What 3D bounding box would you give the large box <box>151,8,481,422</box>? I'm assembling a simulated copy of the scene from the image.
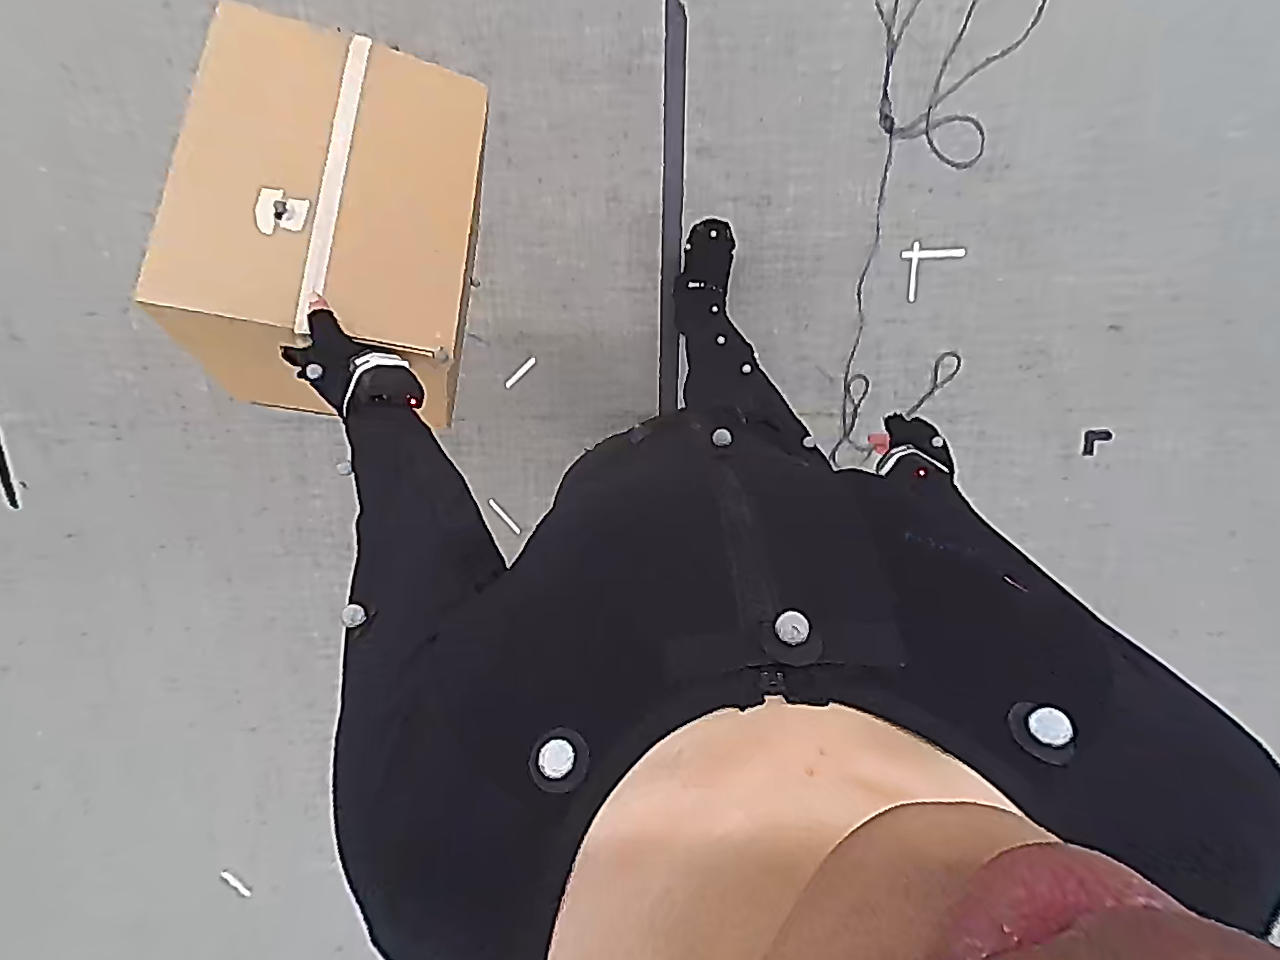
[{"bbox_3d":[-0.421,-0.335,0.797,0.320,0.320,0.408,7,77,-18],"label":"large box"}]
